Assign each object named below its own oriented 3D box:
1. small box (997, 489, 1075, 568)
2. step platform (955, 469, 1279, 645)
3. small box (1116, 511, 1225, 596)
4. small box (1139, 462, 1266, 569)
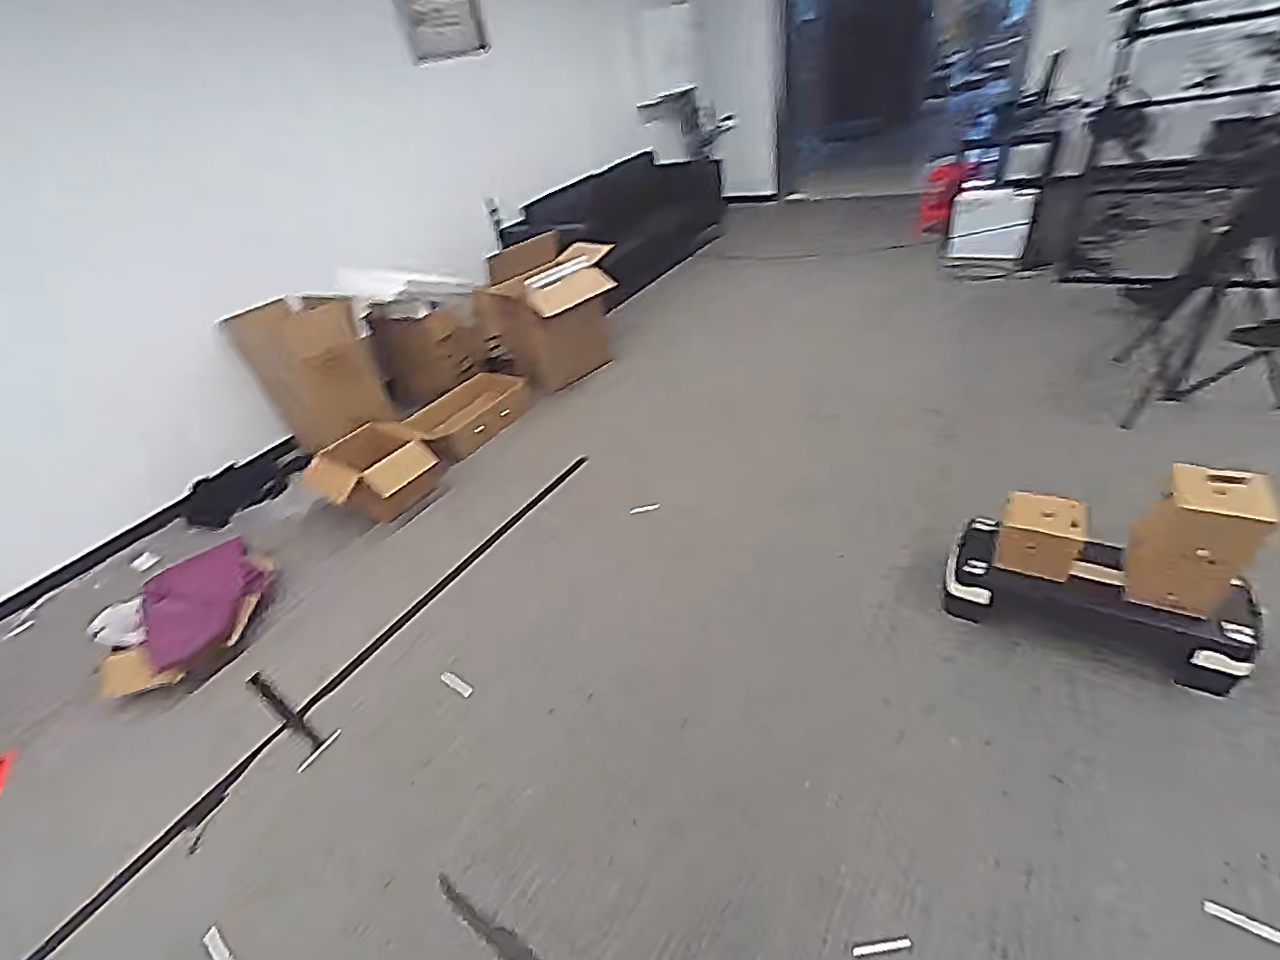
[{"bbox_3d":[1.130,0.152,1.566,0.179,0.176,0.168,12,44,30],"label":"small box"},{"bbox_3d":[1.238,0.179,1.441,0.684,0.204,0.286,15,44,30],"label":"step platform"},{"bbox_3d":[1.372,0.212,1.417,0.168,0.176,0.179,13,44,31],"label":"small box"},{"bbox_3d":[1.352,0.084,1.316,0.168,0.176,0.179,13,45,31],"label":"small box"}]
